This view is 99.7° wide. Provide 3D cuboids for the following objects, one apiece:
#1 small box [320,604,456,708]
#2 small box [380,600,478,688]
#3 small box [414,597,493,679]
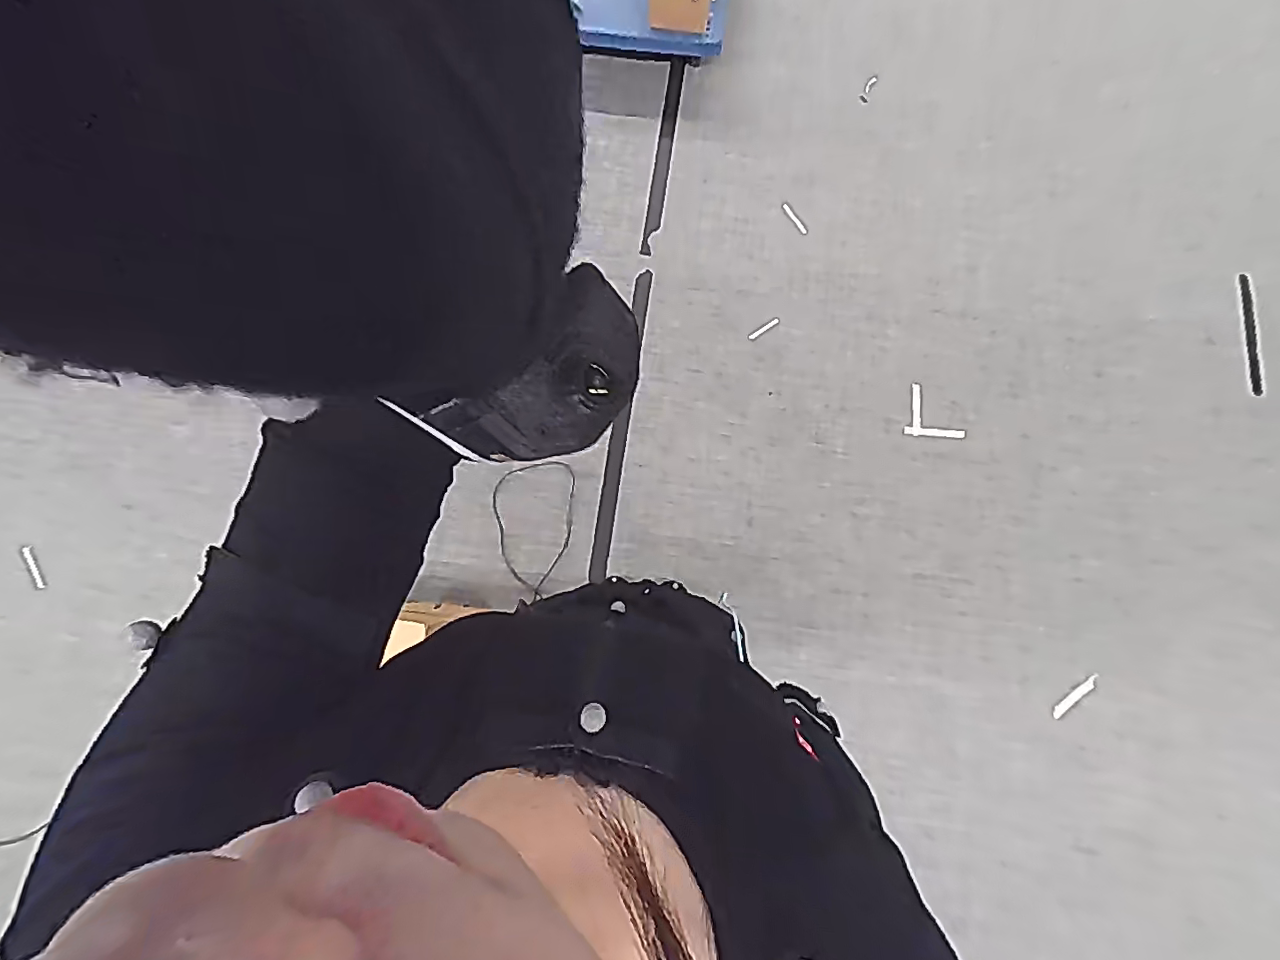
[{"bbox_3d":[-0.497,0.345,1.089,0.179,0.176,0.168,8,80,1],"label":"small box"},{"bbox_3d":[-0.497,0.371,1.253,0.179,0.176,0.168,7,80,2],"label":"small box"},{"bbox_3d":[-0.498,0.406,1.413,0.168,0.176,0.179,8,79,1],"label":"small box"}]
